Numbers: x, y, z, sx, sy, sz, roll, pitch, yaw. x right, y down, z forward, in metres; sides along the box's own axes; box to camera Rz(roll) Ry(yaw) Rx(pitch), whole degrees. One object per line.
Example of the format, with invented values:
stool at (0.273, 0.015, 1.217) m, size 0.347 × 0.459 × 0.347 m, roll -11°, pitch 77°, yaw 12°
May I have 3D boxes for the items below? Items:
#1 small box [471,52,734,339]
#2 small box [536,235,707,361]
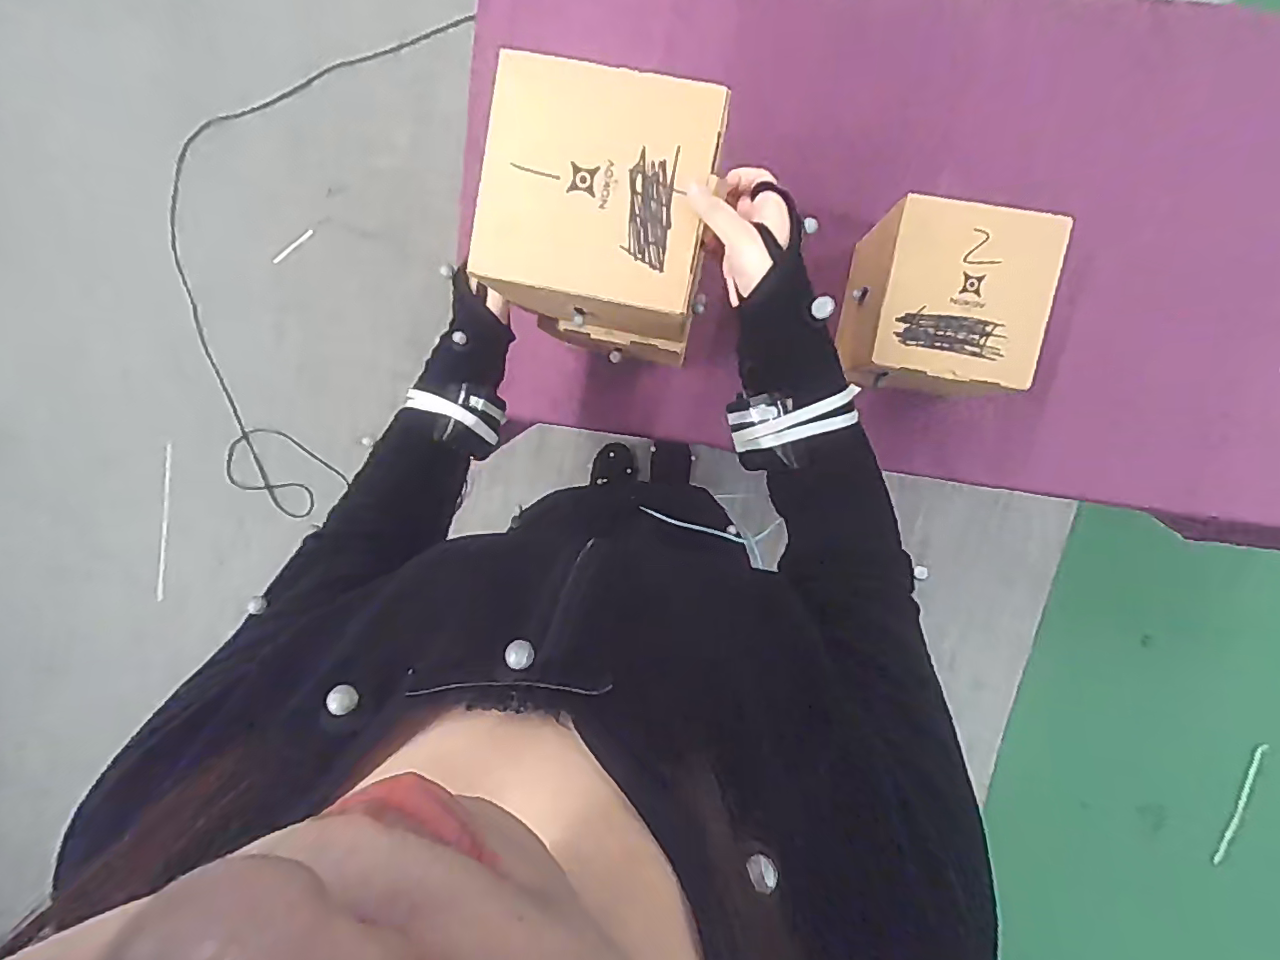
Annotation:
small box at (-0.027, -0.231, 0.489) m, size 0.179 × 0.176 × 0.168 m, roll 13°, pitch 98°, yaw 2°
small box at (-0.013, -0.247, 0.653) m, size 0.168 × 0.176 × 0.179 m, roll 12°, pitch 99°, yaw 1°
